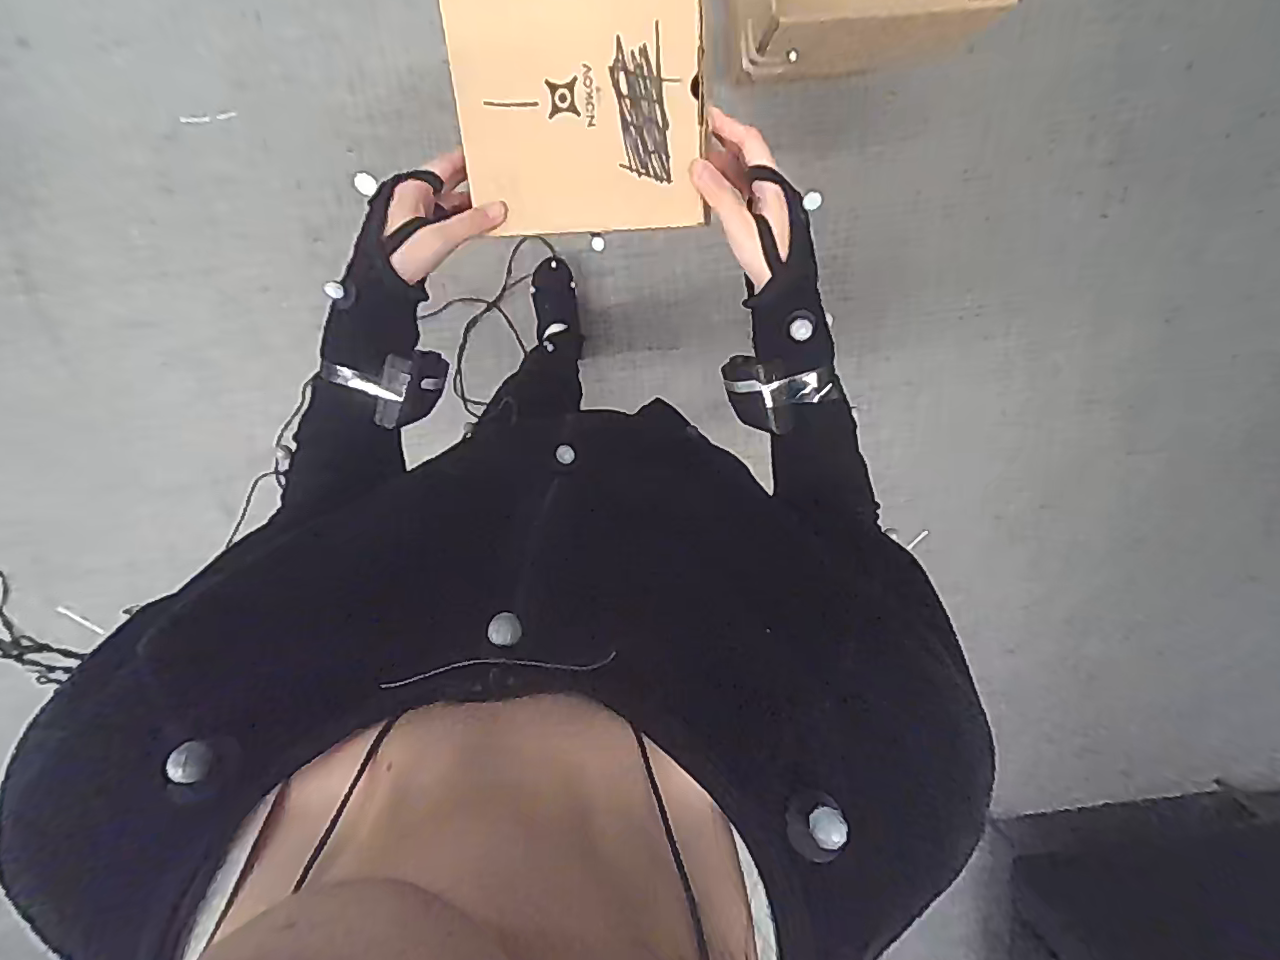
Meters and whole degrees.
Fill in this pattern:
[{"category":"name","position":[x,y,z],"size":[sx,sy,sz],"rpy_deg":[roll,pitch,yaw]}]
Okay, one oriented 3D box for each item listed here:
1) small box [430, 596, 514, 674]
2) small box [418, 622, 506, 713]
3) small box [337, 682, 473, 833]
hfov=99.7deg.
[{"category":"small box","position":[-0.456,0.436,1.500],"size":[0.179,0.176,0.168],"rpy_deg":[-8,102,0]},{"category":"small box","position":[-0.440,0.467,1.340],"size":[0.179,0.176,0.168],"rpy_deg":[-8,100,-1]},{"category":"small box","position":[-0.428,0.513,1.017],"size":[0.168,0.176,0.179],"rpy_deg":[-10,100,-1]}]
